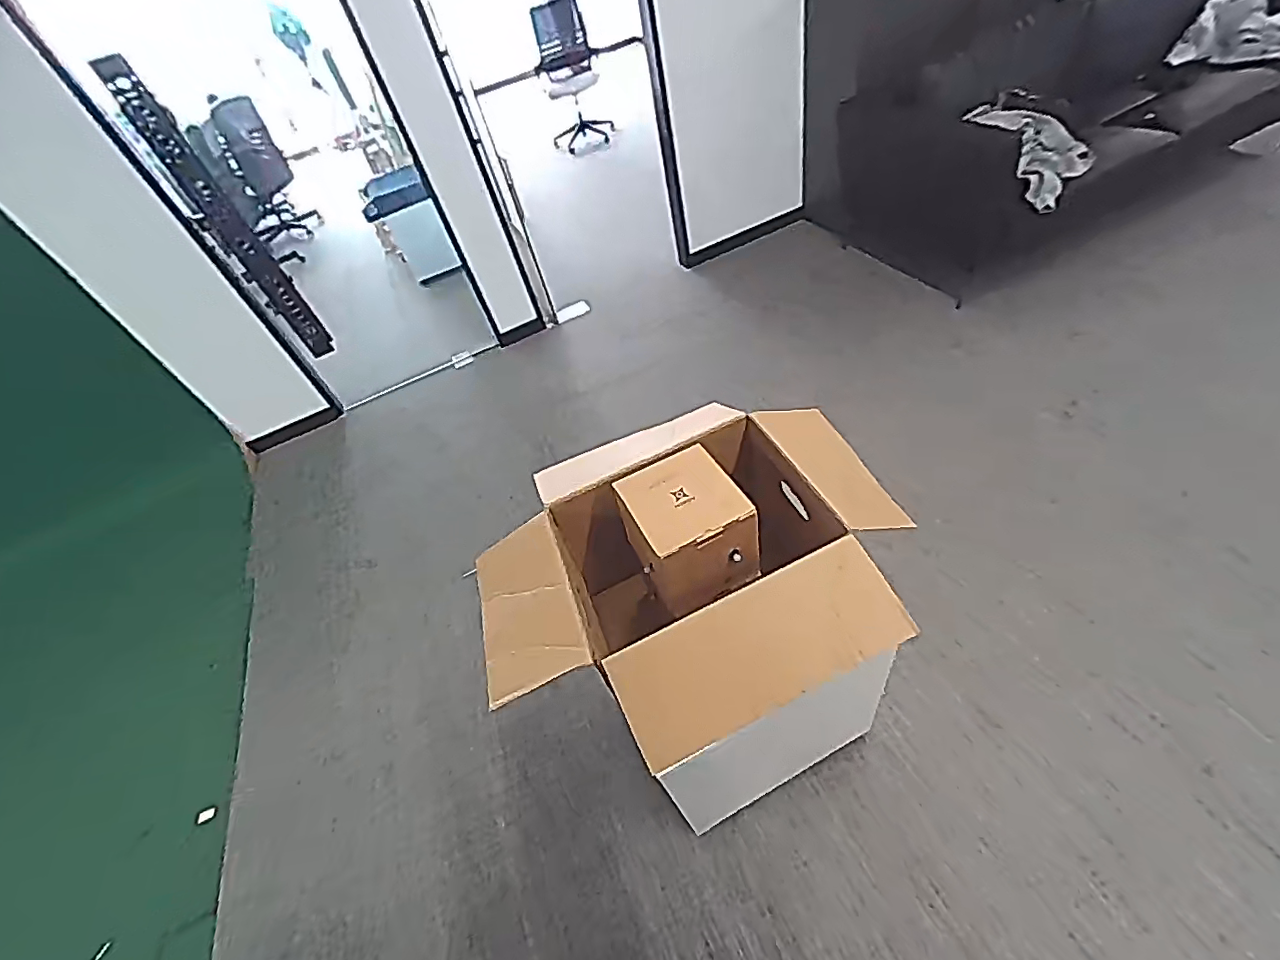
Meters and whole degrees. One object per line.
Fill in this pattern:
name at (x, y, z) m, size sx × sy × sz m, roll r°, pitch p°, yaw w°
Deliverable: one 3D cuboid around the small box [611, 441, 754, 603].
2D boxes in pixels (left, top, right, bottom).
small box at (0.073, 0.075, 0.877) m, size 0.168 × 0.176 × 0.179 m, roll -24°, pitch 46°, yaw -11°
